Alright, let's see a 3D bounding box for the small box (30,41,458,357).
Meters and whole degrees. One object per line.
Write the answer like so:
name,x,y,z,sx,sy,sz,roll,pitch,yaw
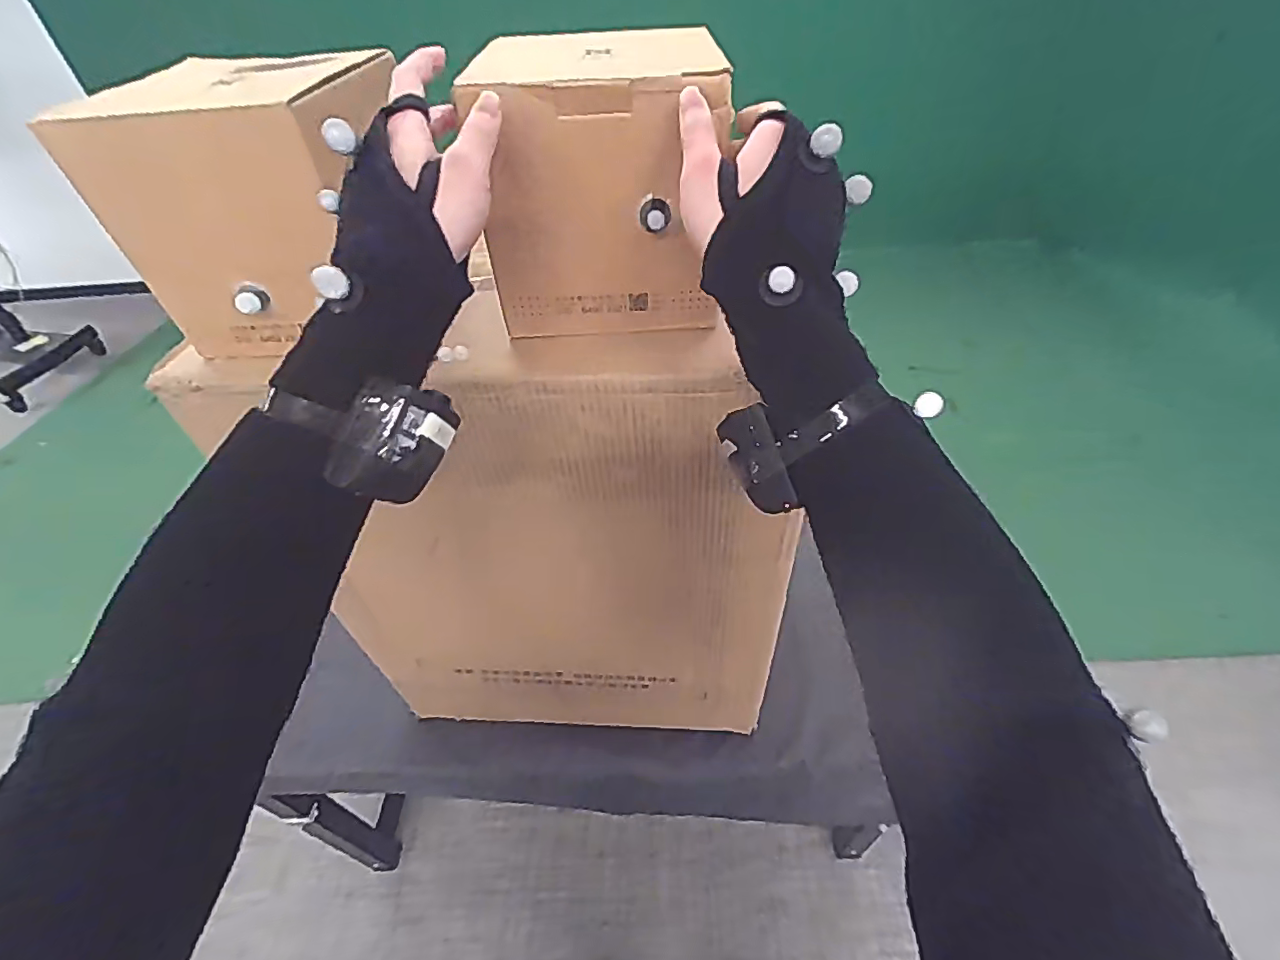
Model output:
small box,-0.258,-0.214,0.416,0.168,0.176,0.179,0,47,6
